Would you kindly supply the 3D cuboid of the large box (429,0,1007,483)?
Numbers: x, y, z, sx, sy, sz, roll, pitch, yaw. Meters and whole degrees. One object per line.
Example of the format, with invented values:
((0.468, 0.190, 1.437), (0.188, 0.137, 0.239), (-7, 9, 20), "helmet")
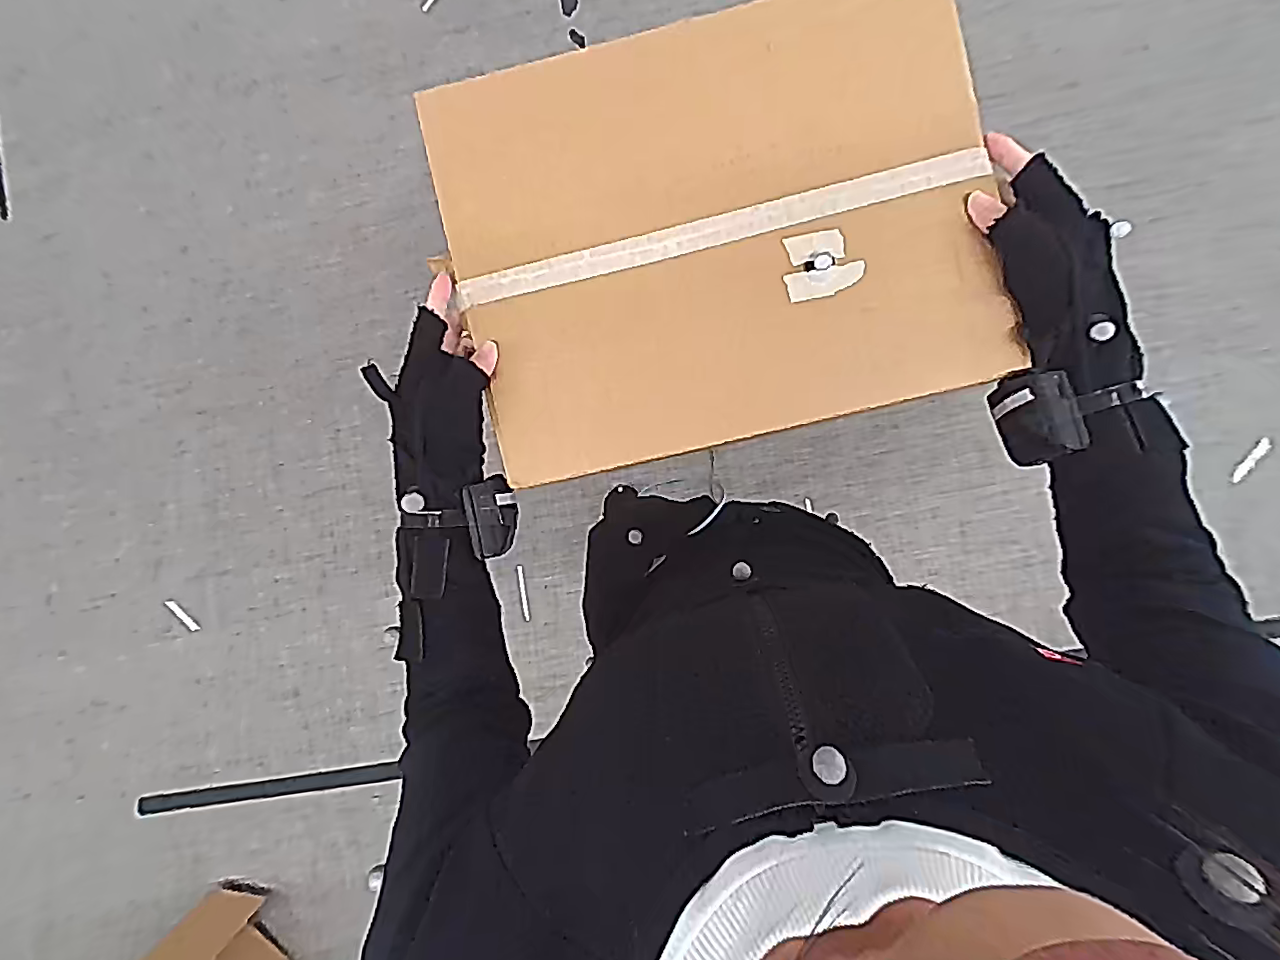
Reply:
((0.062, -0.196, 0.571), (0.408, 0.320, 0.320), (-14, 92, 2), "large box")
